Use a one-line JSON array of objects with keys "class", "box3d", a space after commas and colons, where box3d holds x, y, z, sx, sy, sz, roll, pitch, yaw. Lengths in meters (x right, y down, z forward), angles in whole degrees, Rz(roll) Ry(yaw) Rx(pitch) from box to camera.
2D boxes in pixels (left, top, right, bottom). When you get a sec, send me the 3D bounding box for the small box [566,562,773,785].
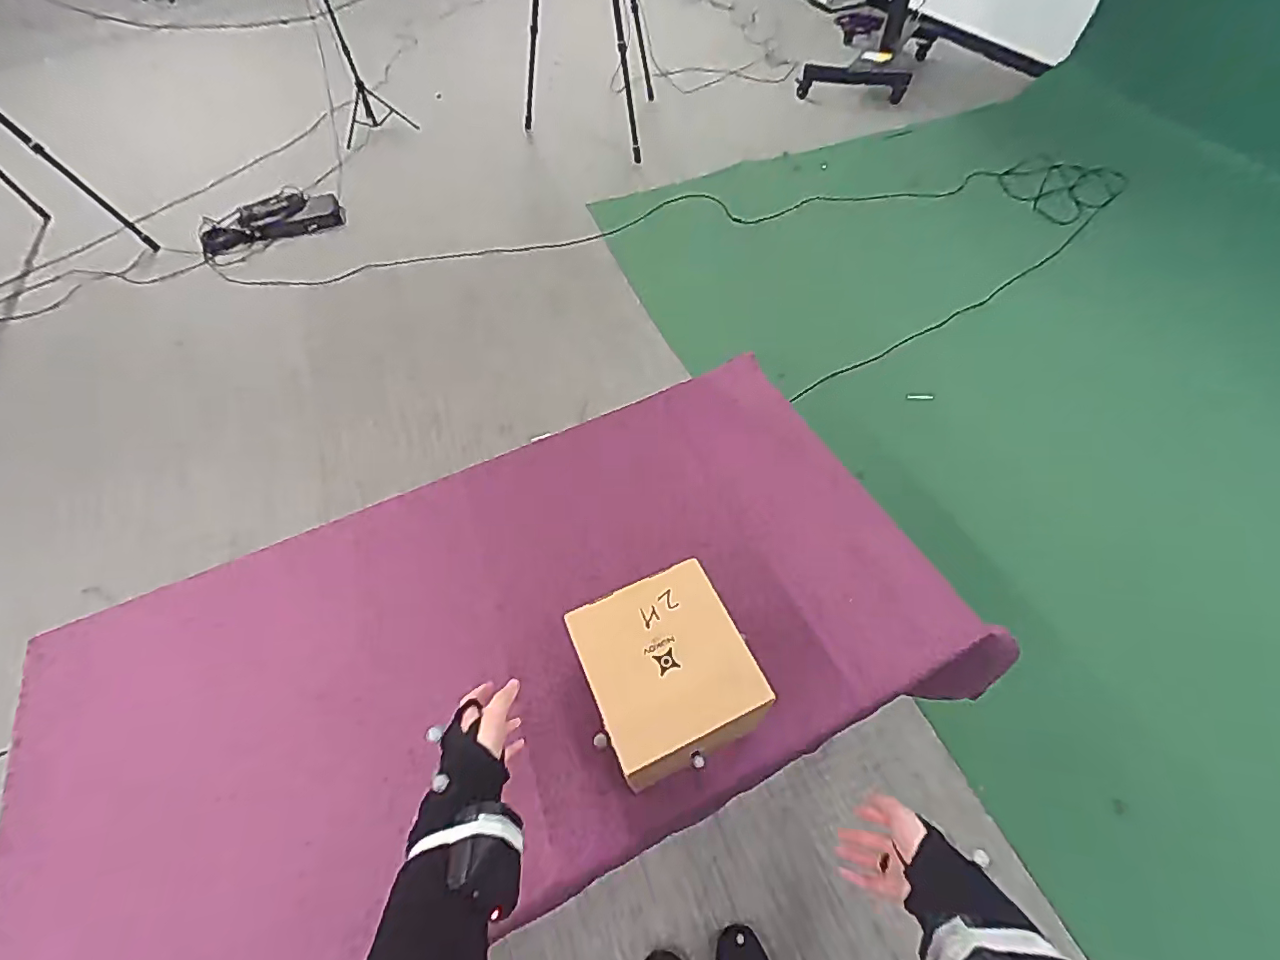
[{"class": "small box", "box3d": [0.030, 0.231, 0.628, 0.168, 0.176, 0.179, -22, 57, -12]}]
